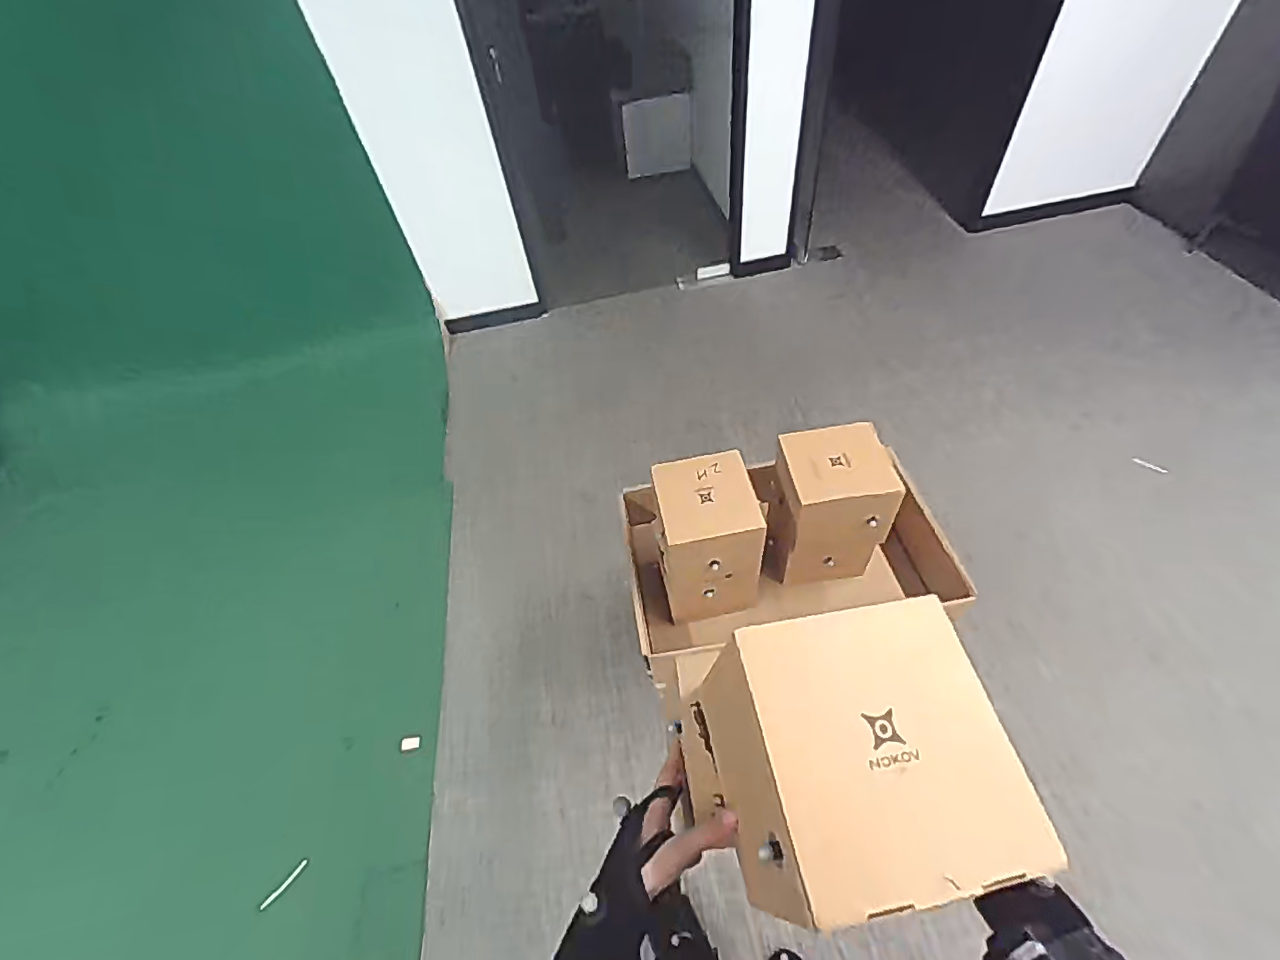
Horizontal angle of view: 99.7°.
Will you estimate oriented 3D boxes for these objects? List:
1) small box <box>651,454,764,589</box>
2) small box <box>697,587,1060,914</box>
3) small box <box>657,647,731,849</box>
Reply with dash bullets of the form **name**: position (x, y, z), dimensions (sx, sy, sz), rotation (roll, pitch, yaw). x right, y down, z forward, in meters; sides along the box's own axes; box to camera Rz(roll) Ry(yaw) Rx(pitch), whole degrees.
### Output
- **small box**: position (0.120, 0.083, 0.985), dimensions (0.168, 0.176, 0.179), rotation (-11, 50, -1)
- **small box**: position (0.150, 0.205, 0.420), dimensions (0.168, 0.176, 0.179), rotation (-7, 57, -9)
- **small box**: position (0.117, 0.281, 0.566), dimensions (0.179, 0.176, 0.168), rotation (-1, 54, -5)
